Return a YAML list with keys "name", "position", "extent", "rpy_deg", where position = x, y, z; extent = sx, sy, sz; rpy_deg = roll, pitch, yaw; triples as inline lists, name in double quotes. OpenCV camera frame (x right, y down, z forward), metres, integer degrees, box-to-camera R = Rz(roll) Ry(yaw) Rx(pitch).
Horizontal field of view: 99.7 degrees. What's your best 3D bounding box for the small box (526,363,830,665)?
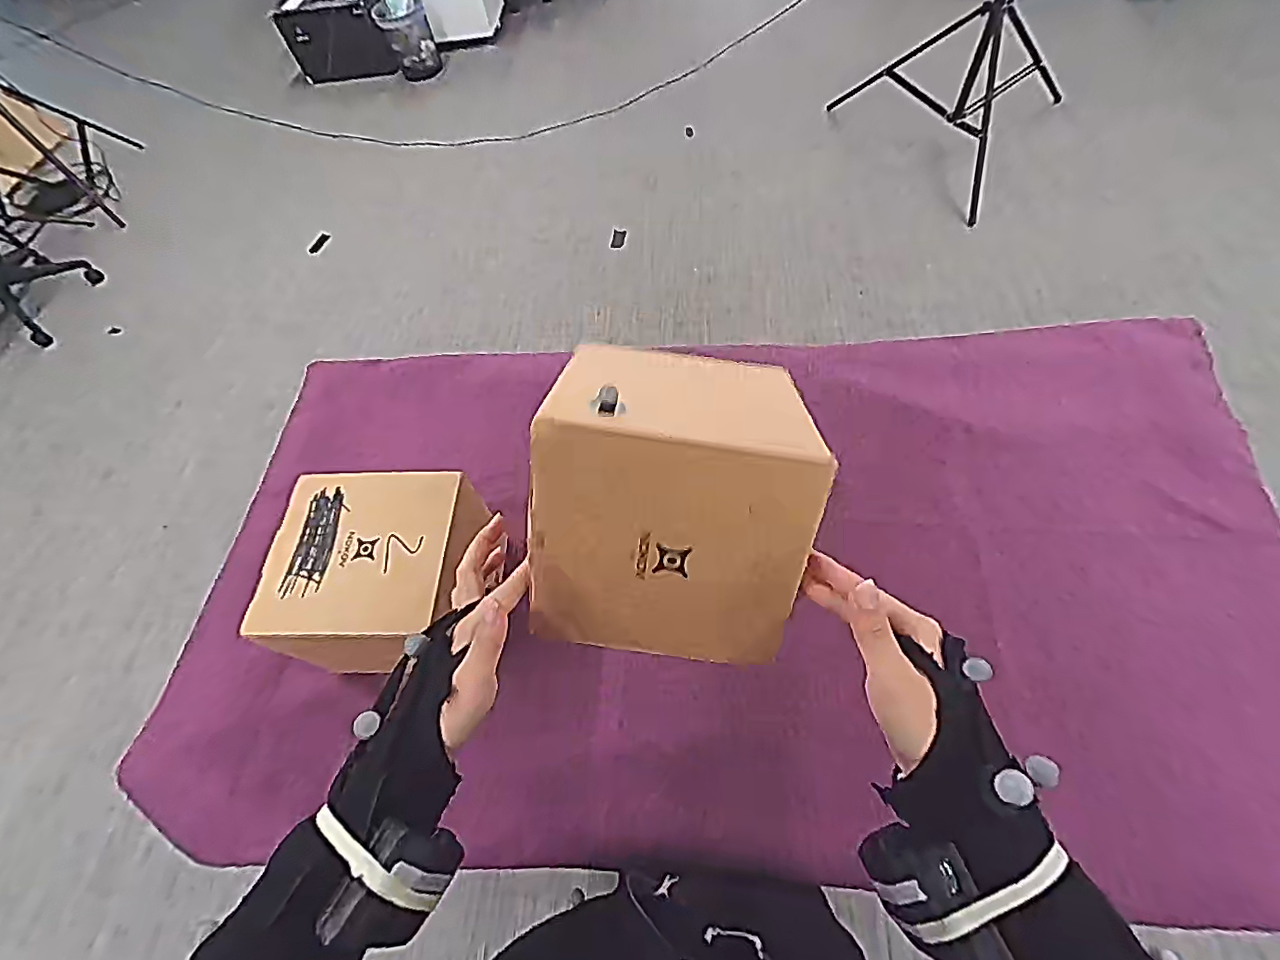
- name: "small box"
  position: [0.021, 0.012, 0.413]
  extent: [0.179, 0.168, 0.176]
  rpy_deg: [7, 22, 2]
